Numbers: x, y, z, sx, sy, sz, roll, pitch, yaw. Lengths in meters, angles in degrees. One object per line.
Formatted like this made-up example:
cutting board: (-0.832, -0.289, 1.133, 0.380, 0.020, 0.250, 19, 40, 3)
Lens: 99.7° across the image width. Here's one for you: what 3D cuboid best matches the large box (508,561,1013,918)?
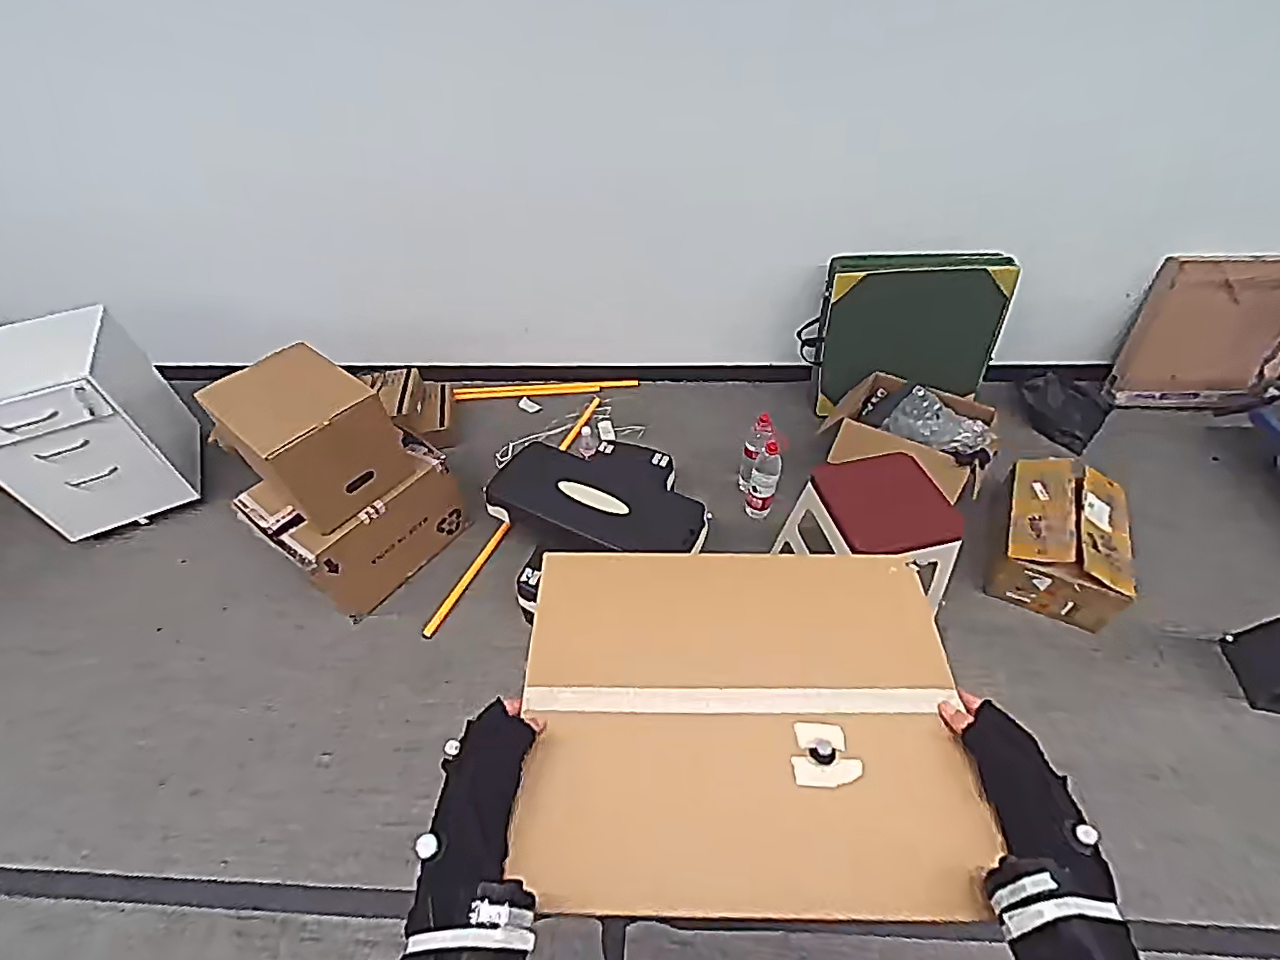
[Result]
large box: (0.093, 0.304, 0.626, 0.408, 0.320, 0.320, 0, 52, 1)
